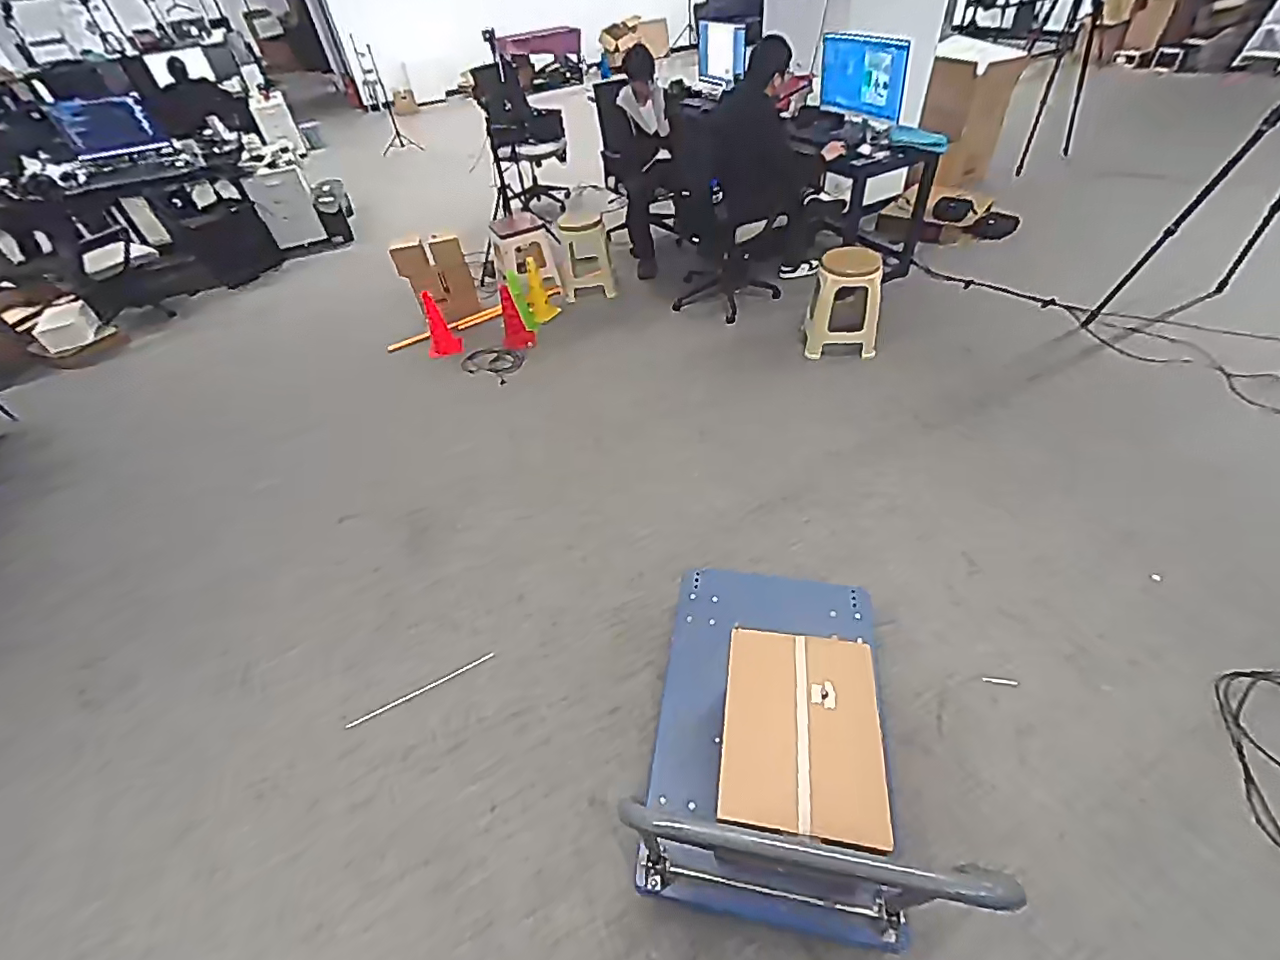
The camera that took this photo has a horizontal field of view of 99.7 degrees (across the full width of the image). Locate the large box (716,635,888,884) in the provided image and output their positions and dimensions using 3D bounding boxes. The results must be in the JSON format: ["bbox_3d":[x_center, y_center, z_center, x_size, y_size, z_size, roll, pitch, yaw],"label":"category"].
[{"bbox_3d":[0.343,0.625,1.231,0.320,0.320,0.408,5,45,11],"label":"large box"}]
